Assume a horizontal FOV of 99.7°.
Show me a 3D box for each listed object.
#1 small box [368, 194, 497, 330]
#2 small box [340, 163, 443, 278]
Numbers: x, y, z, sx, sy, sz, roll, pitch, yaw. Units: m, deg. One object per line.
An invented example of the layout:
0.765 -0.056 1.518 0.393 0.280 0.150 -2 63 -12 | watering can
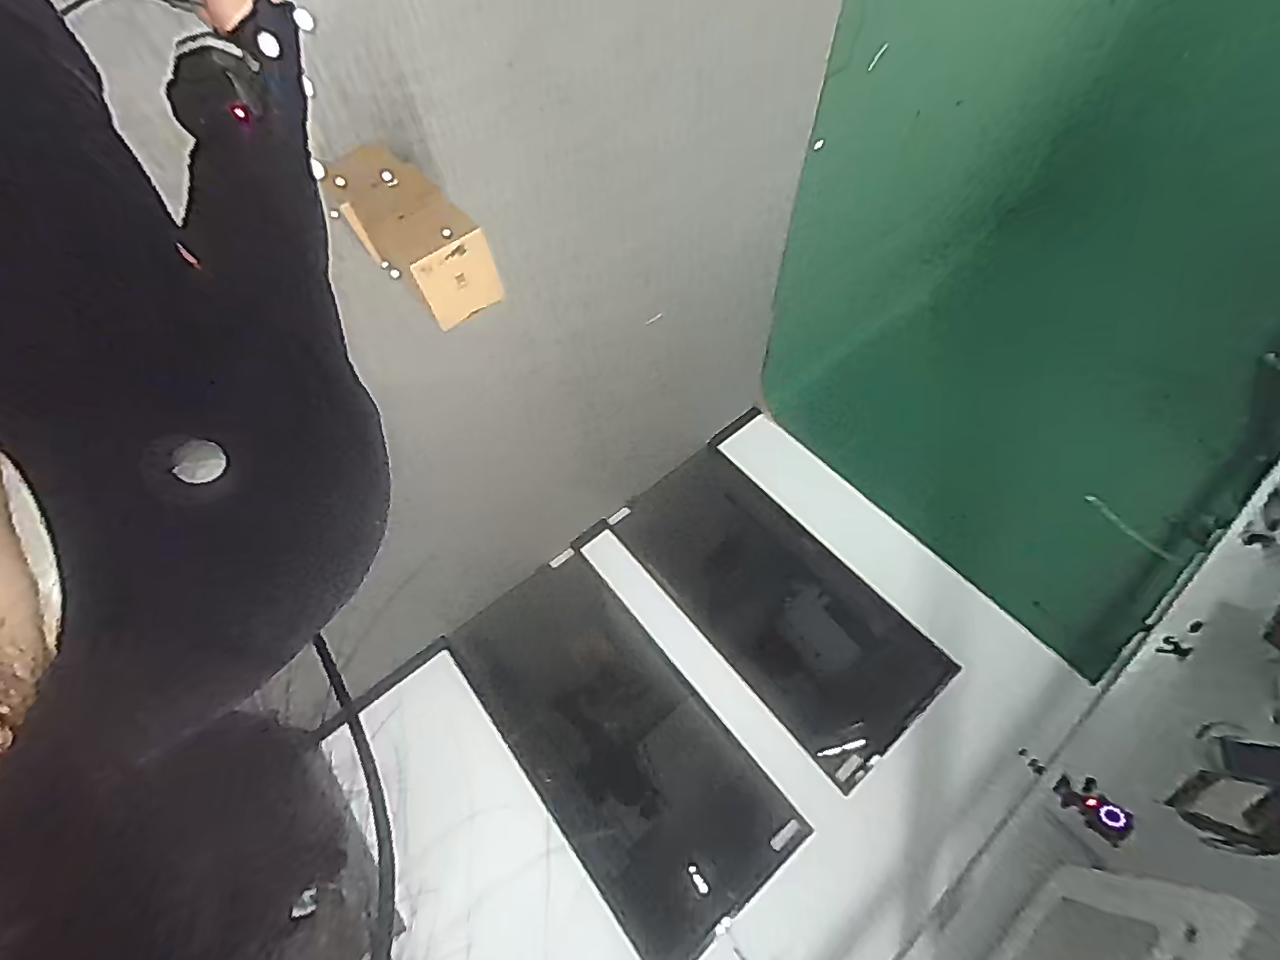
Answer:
-0.437 -0.464 1.151 0.168 0.176 0.179 -37 156 -17 | small box
-0.535 -0.573 1.224 0.168 0.176 0.179 -37 154 -17 | small box
